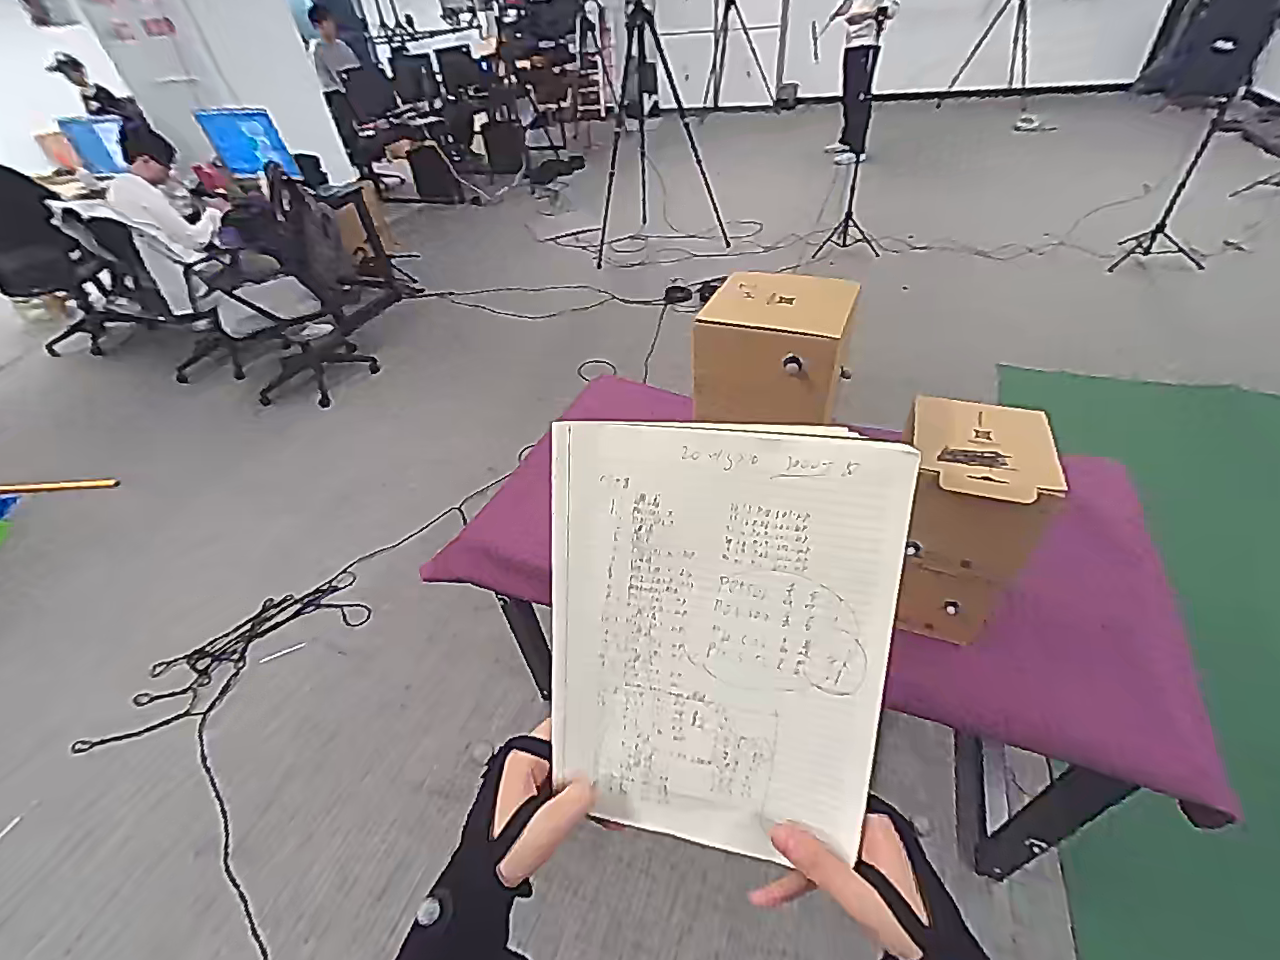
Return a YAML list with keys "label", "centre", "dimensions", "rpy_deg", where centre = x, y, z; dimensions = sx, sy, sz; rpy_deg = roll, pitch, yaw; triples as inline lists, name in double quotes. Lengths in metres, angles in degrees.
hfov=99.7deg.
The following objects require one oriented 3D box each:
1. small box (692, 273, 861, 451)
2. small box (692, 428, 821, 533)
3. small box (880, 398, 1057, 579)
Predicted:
- label: "small box"
  centre: [0.181, -0.160, 0.731]
  dimensions: [0.179, 0.176, 0.168]
  rpy_deg: [14, 44, 22]
- label: "small box"
  centre: [0.188, -0.042, 0.847]
  dimensions: [0.168, 0.176, 0.179]
  rpy_deg: [12, 44, 20]
- label: "small box"
  centre: [0.444, 0.011, 0.758]
  dimensions: [0.168, 0.176, 0.179]
  rpy_deg: [12, 43, 18]
